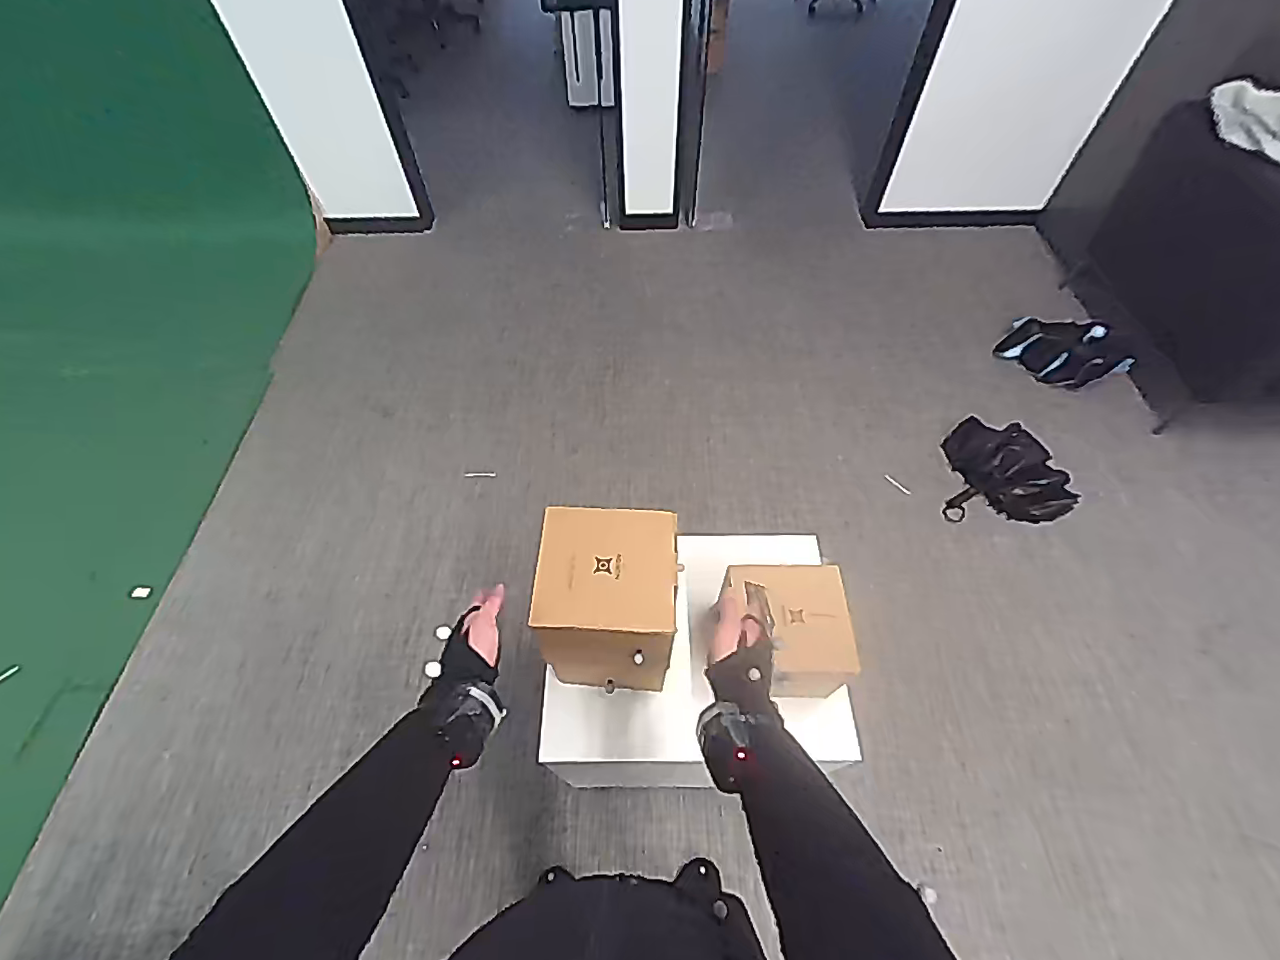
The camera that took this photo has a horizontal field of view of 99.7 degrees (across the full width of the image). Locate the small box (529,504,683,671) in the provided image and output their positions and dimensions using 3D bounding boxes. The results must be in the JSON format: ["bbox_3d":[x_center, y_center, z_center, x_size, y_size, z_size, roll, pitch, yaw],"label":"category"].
[{"bbox_3d":[-0.040,0.148,0.720,0.179,0.176,0.168,2,55,-1],"label":"small box"}]

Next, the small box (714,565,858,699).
[{"bbox_3d":[0.217,0.247,0.865,0.179,0.176,0.168,1,56,-3],"label":"small box"}]
